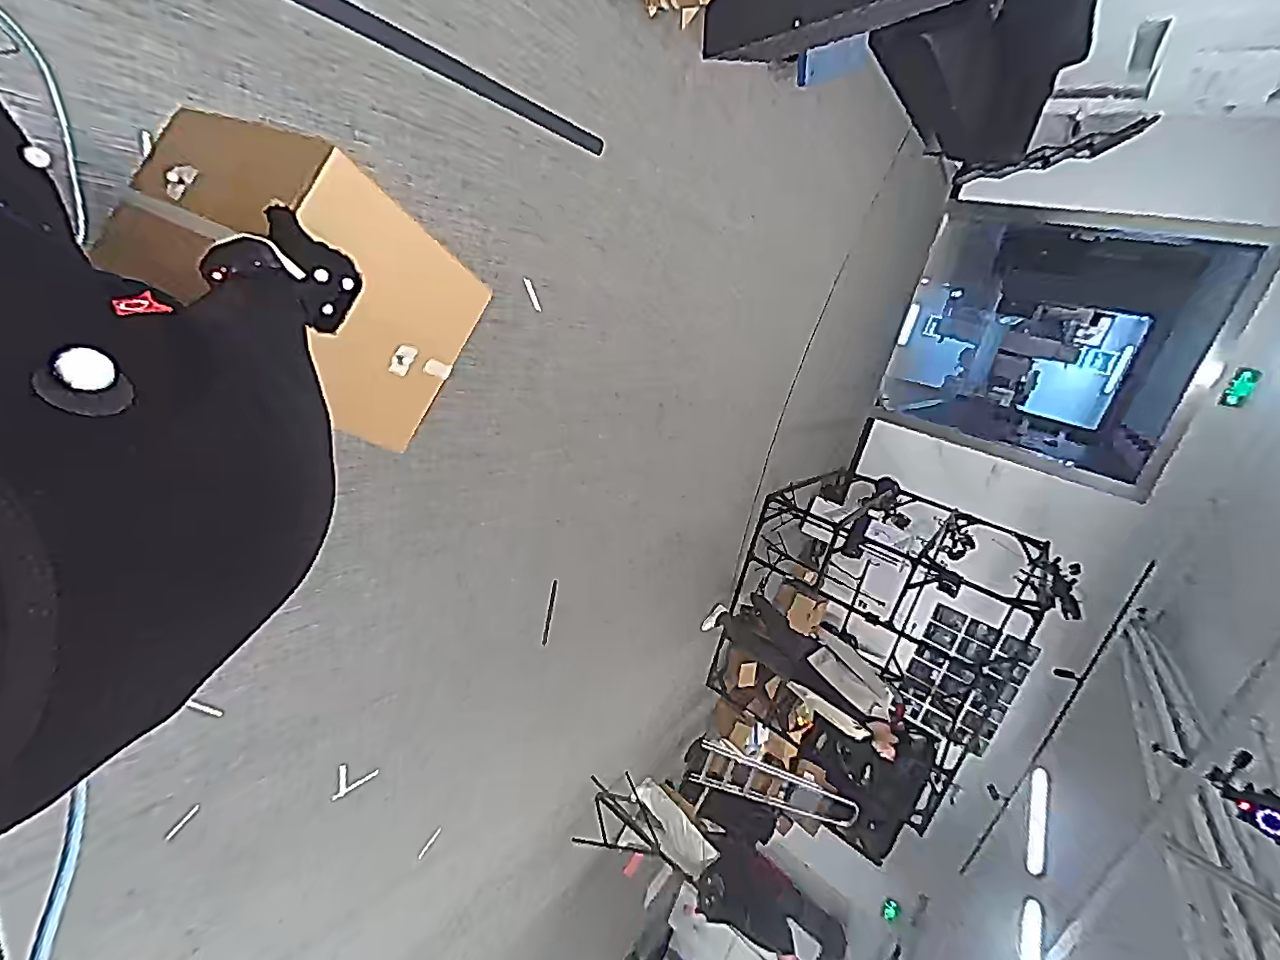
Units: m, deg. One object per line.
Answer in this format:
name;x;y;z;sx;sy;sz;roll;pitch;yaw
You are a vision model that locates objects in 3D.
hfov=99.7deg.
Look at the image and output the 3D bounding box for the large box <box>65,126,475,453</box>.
large box;-0.550;-0.283;0.844;0.320;0.408;0.320;-62;154;-6
